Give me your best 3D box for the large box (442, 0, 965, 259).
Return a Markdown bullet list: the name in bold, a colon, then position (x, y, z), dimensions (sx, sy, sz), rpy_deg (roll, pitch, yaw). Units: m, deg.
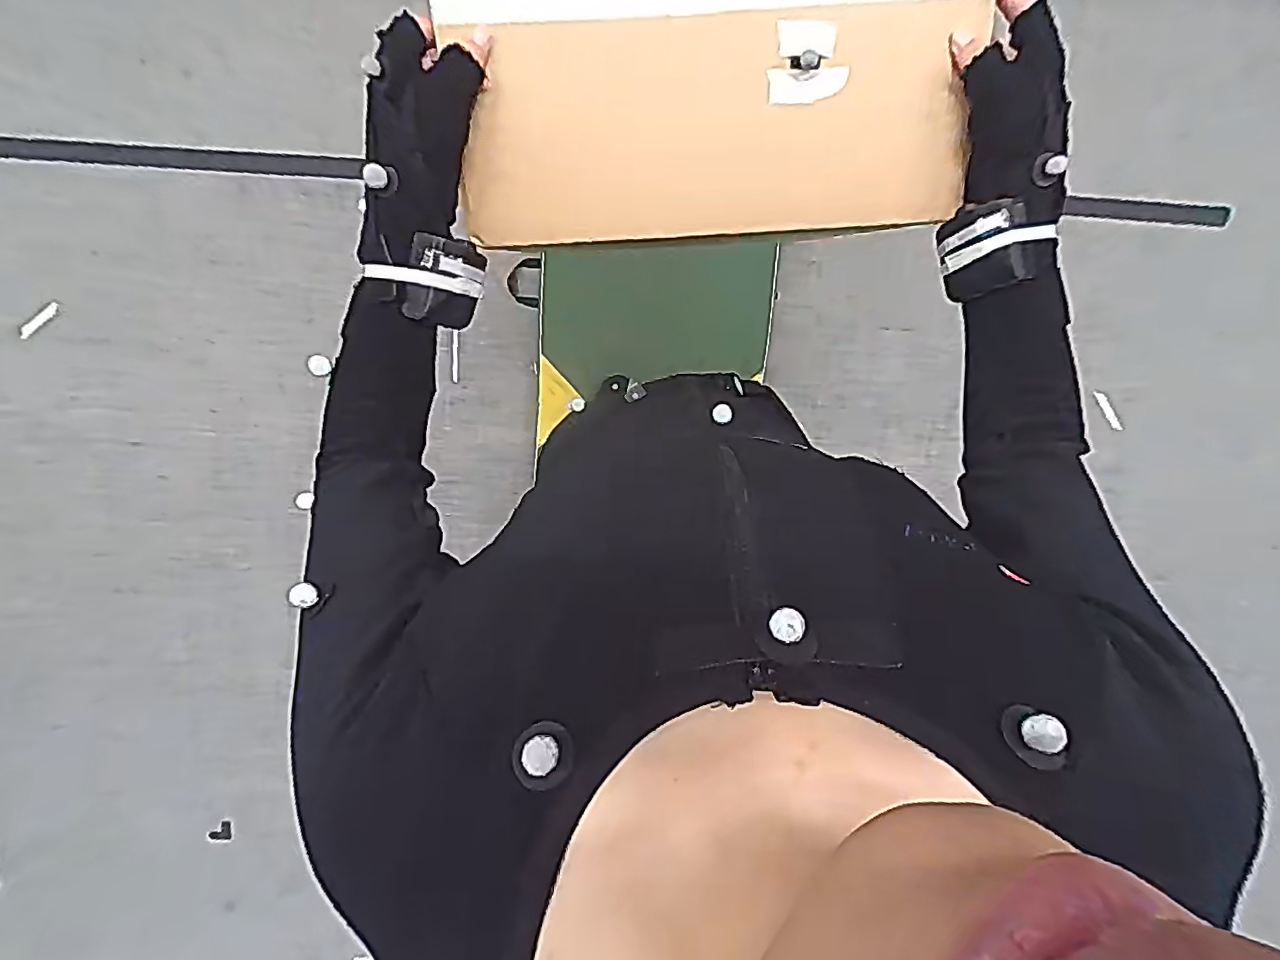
- **large box**: position (0.041, -0.408, 0.545), dimensions (0.408, 0.320, 0.320), rpy_deg (-4, 112, -2)
